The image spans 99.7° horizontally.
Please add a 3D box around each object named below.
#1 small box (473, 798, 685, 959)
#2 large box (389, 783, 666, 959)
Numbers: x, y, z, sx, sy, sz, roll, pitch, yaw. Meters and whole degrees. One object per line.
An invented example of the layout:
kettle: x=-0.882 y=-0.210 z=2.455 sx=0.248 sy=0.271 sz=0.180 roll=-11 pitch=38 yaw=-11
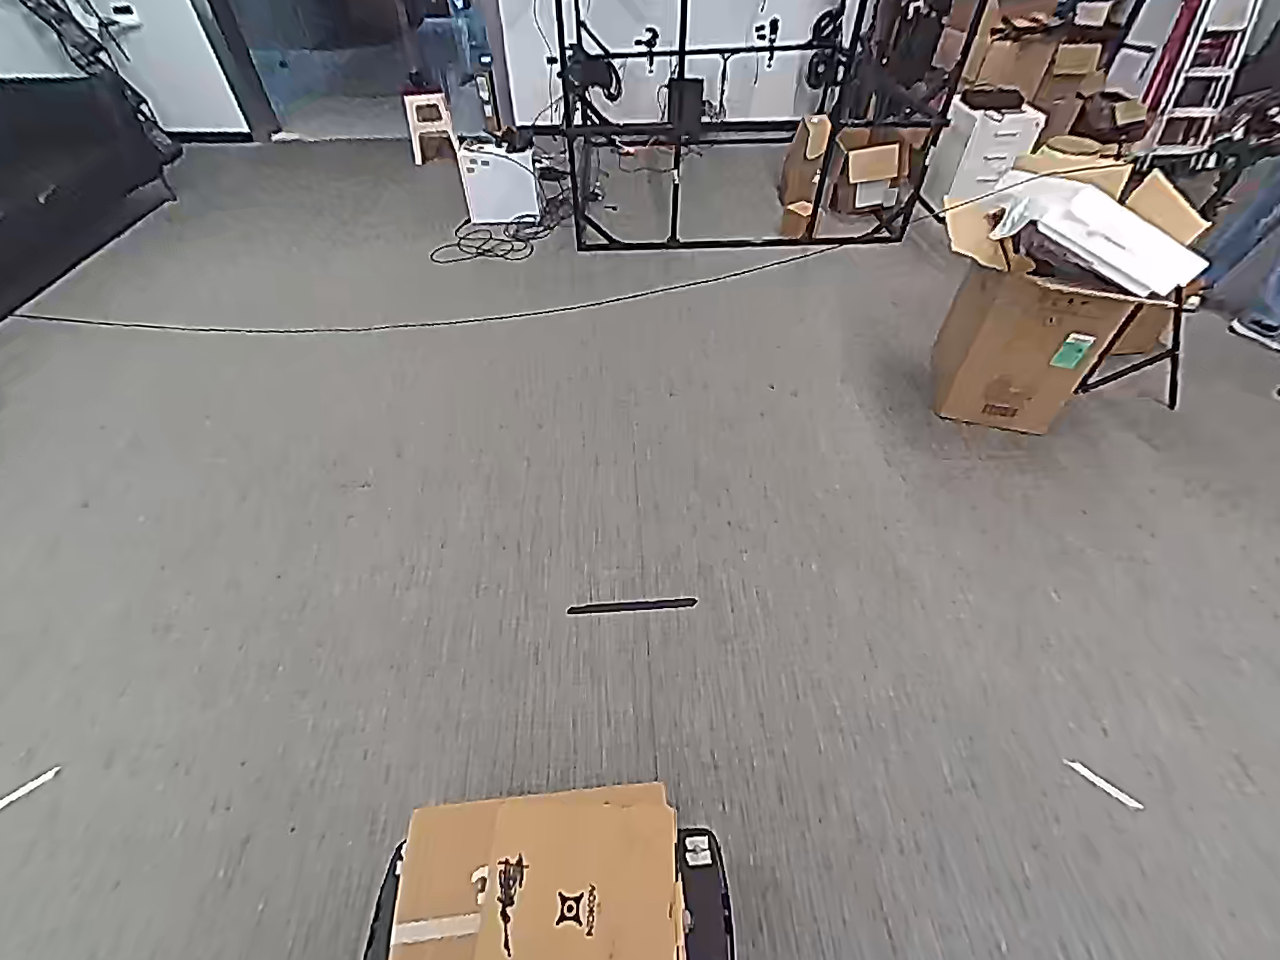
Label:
small box: x=-0.052 y=0.422 z=0.526 sx=0.179 sy=0.176 sz=0.168 roll=2 pitch=49 yaw=0
large box: x=-0.139 y=0.716 z=0.862 sx=0.408 sy=0.320 sz=0.320 roll=-5 pitch=46 yaw=-3
